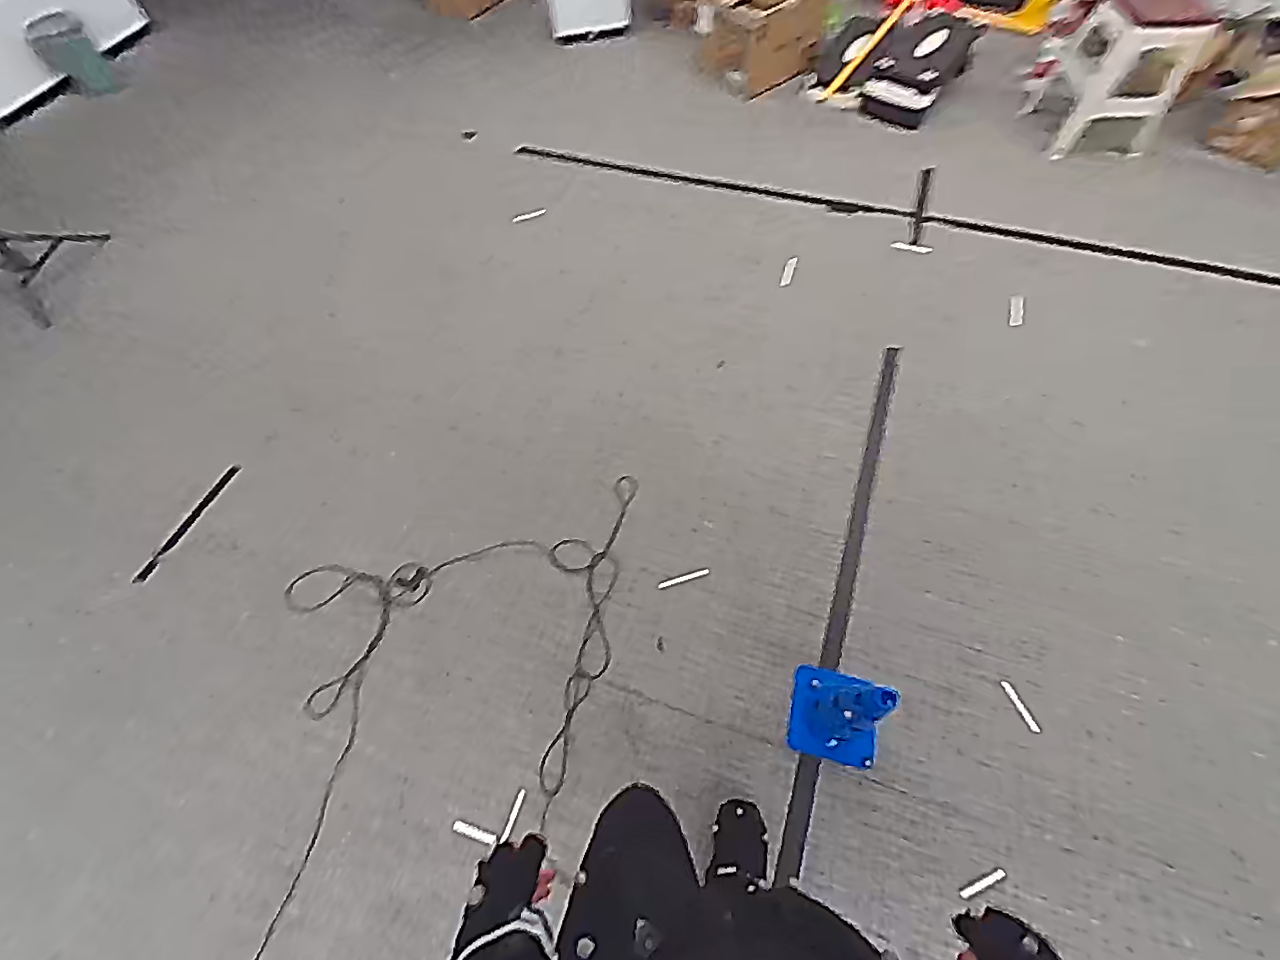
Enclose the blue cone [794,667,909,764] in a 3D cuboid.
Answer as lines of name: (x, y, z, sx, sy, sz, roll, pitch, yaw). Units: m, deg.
blue cone: (0.467, 0.484, 1.153, 0.192, 0.380, 0.193, 14, 63, 9)
